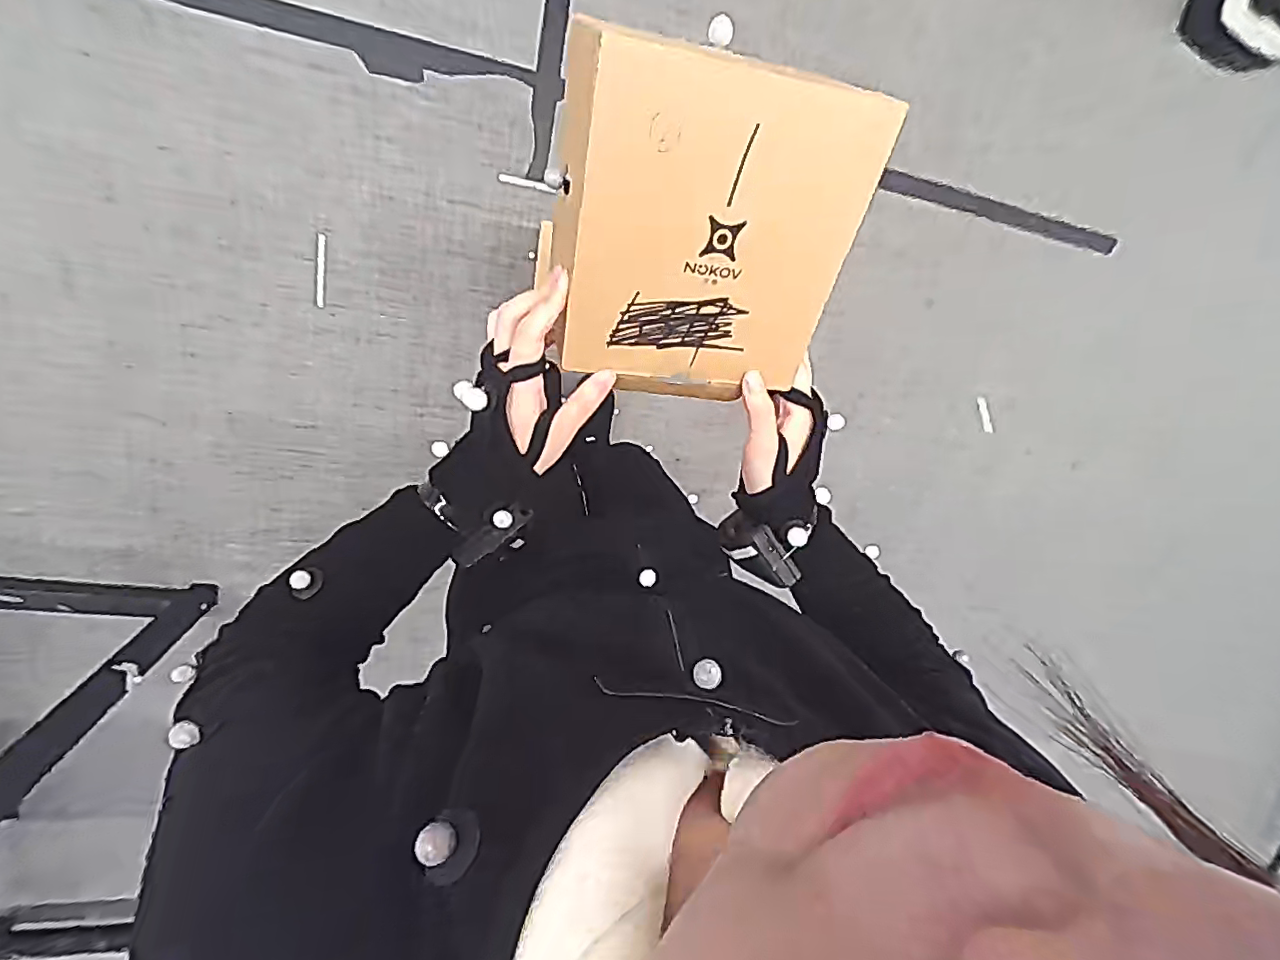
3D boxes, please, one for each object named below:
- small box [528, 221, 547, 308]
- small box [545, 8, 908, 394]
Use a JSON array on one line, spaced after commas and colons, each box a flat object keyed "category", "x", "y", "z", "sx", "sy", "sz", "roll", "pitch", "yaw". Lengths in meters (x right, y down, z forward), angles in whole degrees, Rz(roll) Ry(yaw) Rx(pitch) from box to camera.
[{"category": "small box", "x": -0.147, "y": -0.456, "z": 1.189, "sx": 0.179, "sy": 0.176, "sz": 0.168, "roll": 7, "pitch": 107, "yaw": -14}, {"category": "small box", "x": 0.027, "y": -0.180, "z": 0.360, "sx": 0.168, "sy": 0.176, "sz": 0.179, "roll": 2, "pitch": 131, "yaw": -15}]
